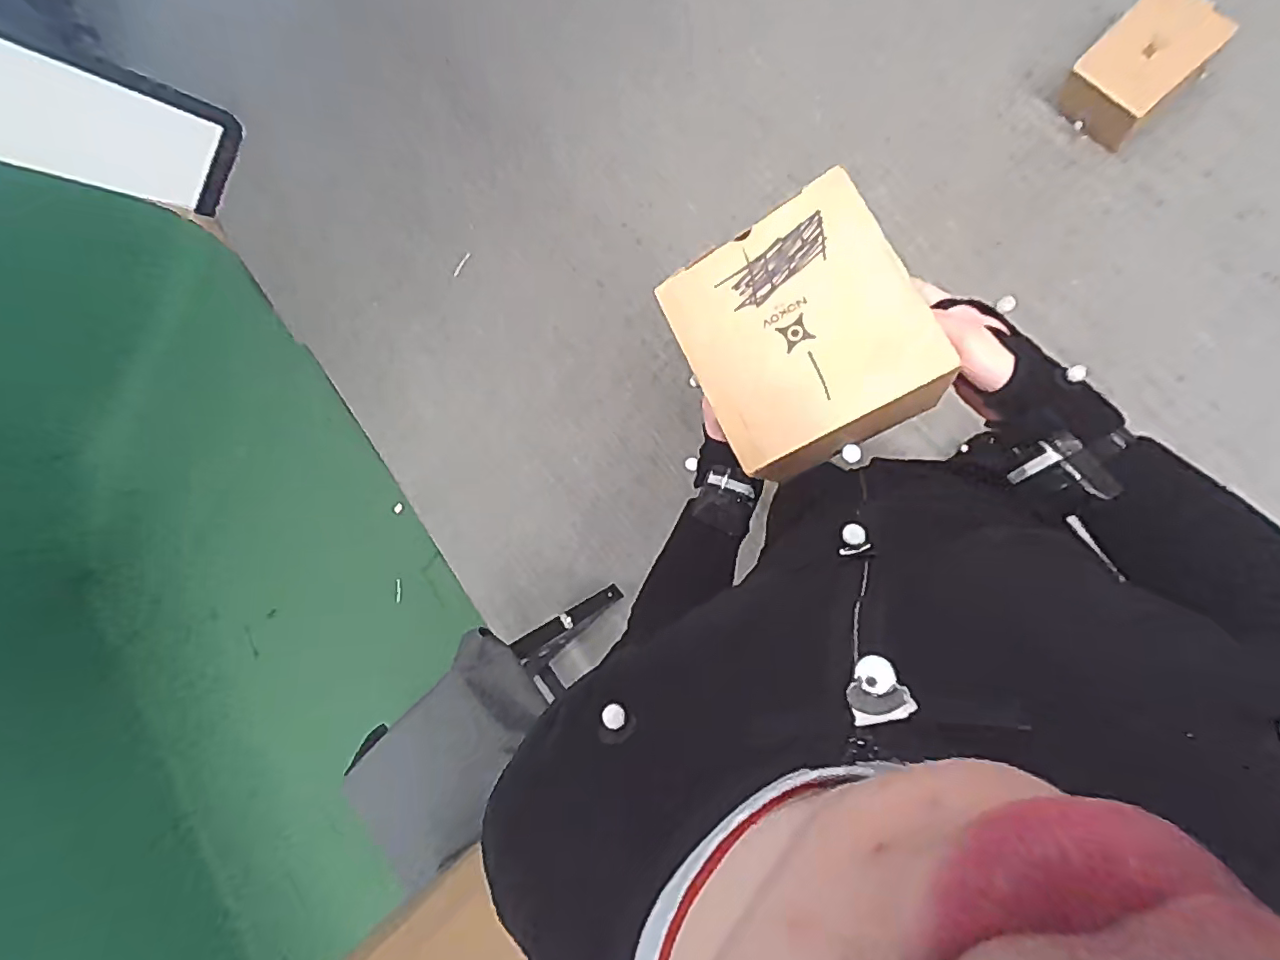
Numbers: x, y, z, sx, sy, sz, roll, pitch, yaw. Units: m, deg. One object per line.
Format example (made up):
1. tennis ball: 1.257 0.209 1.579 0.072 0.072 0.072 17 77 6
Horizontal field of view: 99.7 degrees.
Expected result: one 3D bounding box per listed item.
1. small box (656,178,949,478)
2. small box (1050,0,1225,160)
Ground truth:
1. small box: 0.142 -0.112 0.485 0.168 0.176 0.179 -27 79 19
2. small box: 0.967 -0.789 1.077 0.179 0.176 0.168 -44 76 26
